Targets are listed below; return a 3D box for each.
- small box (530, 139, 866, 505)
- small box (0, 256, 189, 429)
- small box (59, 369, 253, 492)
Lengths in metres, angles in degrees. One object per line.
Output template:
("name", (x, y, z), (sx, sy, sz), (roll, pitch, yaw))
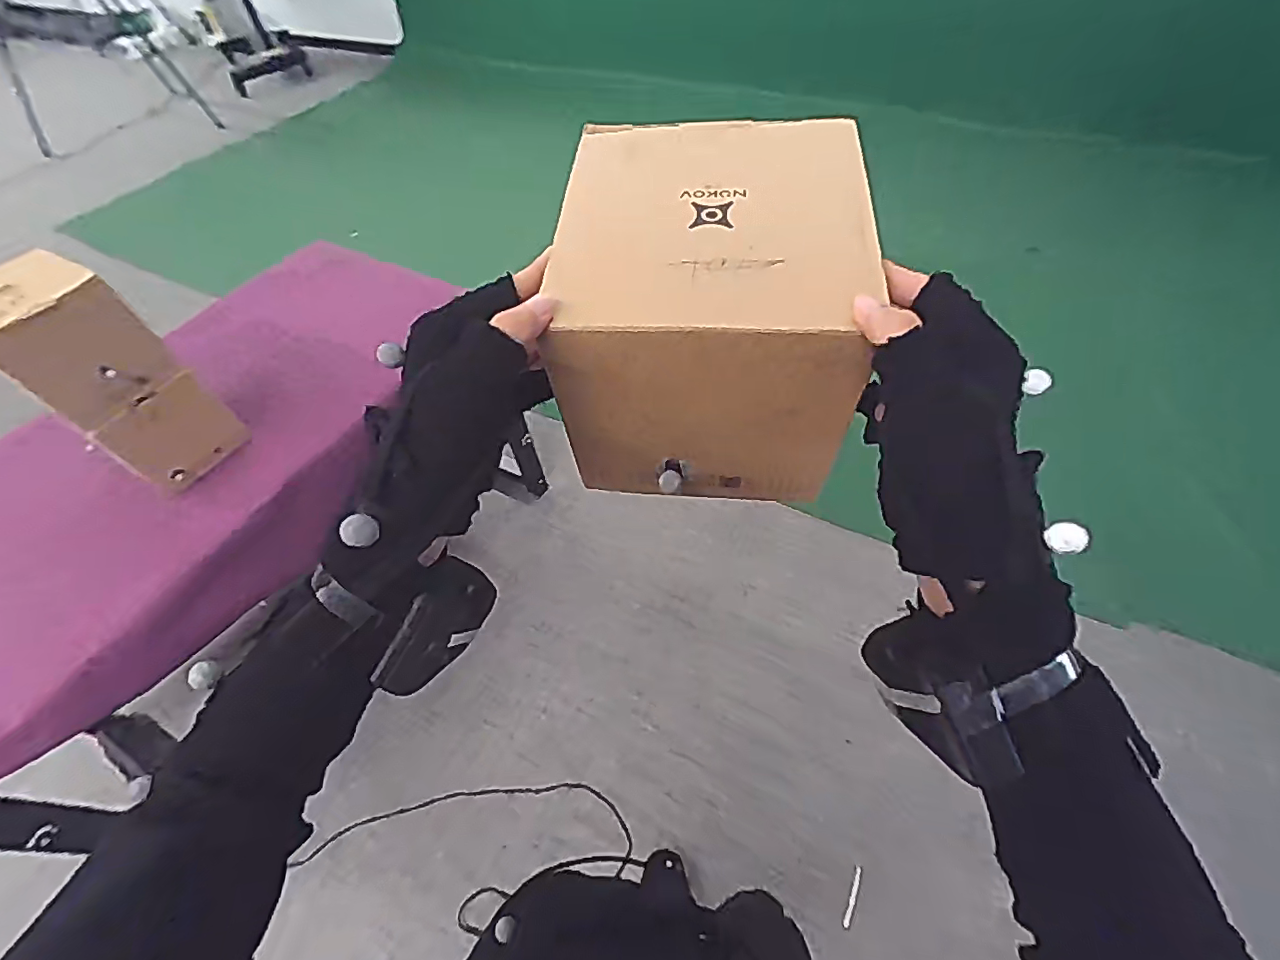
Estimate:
("small box", (0.038, -0.102, 0.371), (0.168, 0.176, 0.179), (3, 60, 6))
("small box", (-0.852, -0.204, 0.814), (0.179, 0.176, 0.168), (24, 58, 20))
("small box", (-0.835, -0.103, 0.943), (0.179, 0.176, 0.168), (23, 58, 21))
